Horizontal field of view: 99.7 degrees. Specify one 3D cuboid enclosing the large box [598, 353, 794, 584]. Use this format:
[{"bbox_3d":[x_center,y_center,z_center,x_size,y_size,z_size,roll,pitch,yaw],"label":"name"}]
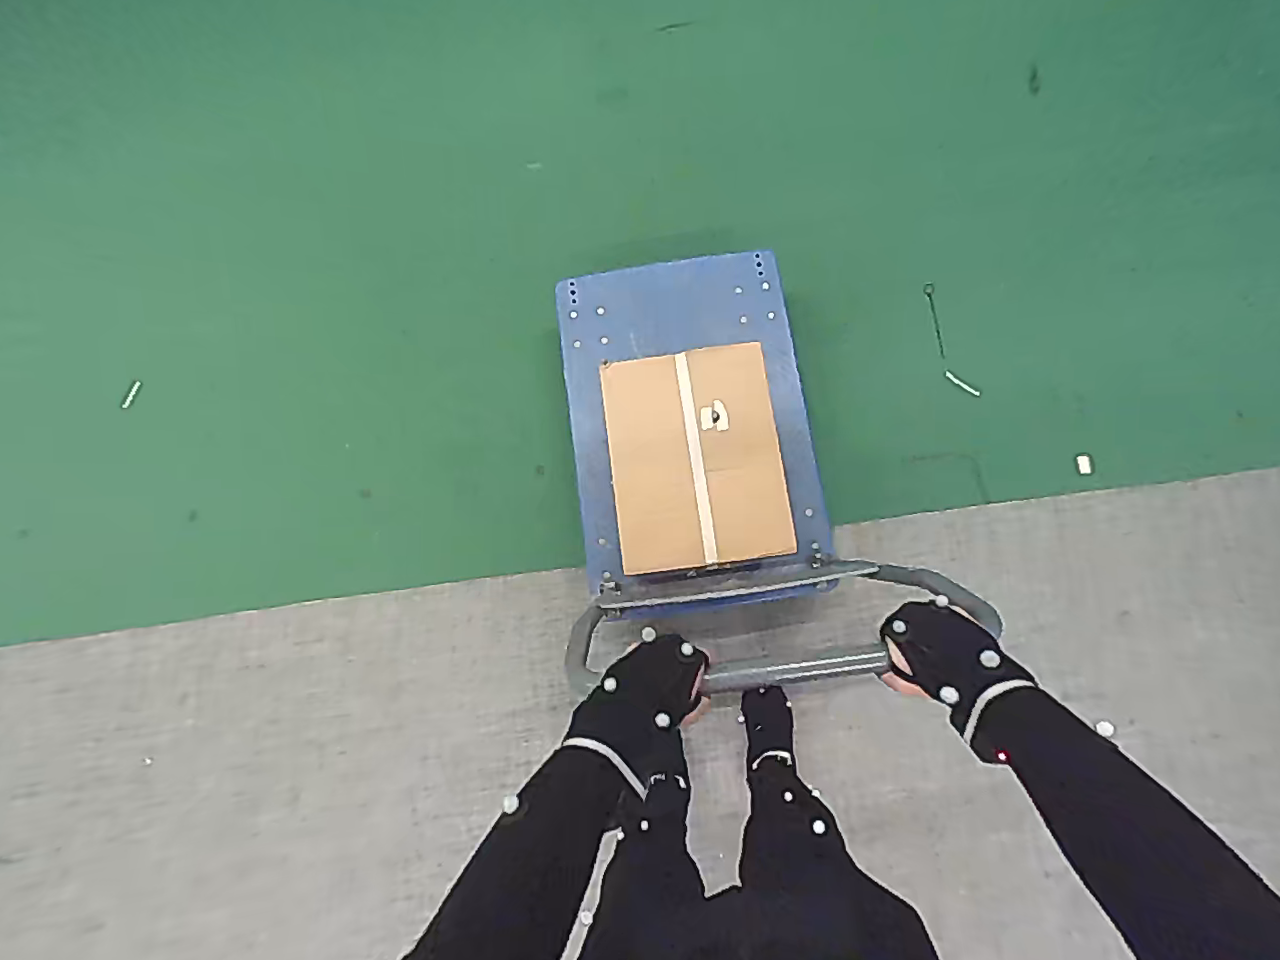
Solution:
[{"bbox_3d":[0.105,-0.002,1.151,0.320,0.320,0.408,-8,79,0],"label":"large box"}]
